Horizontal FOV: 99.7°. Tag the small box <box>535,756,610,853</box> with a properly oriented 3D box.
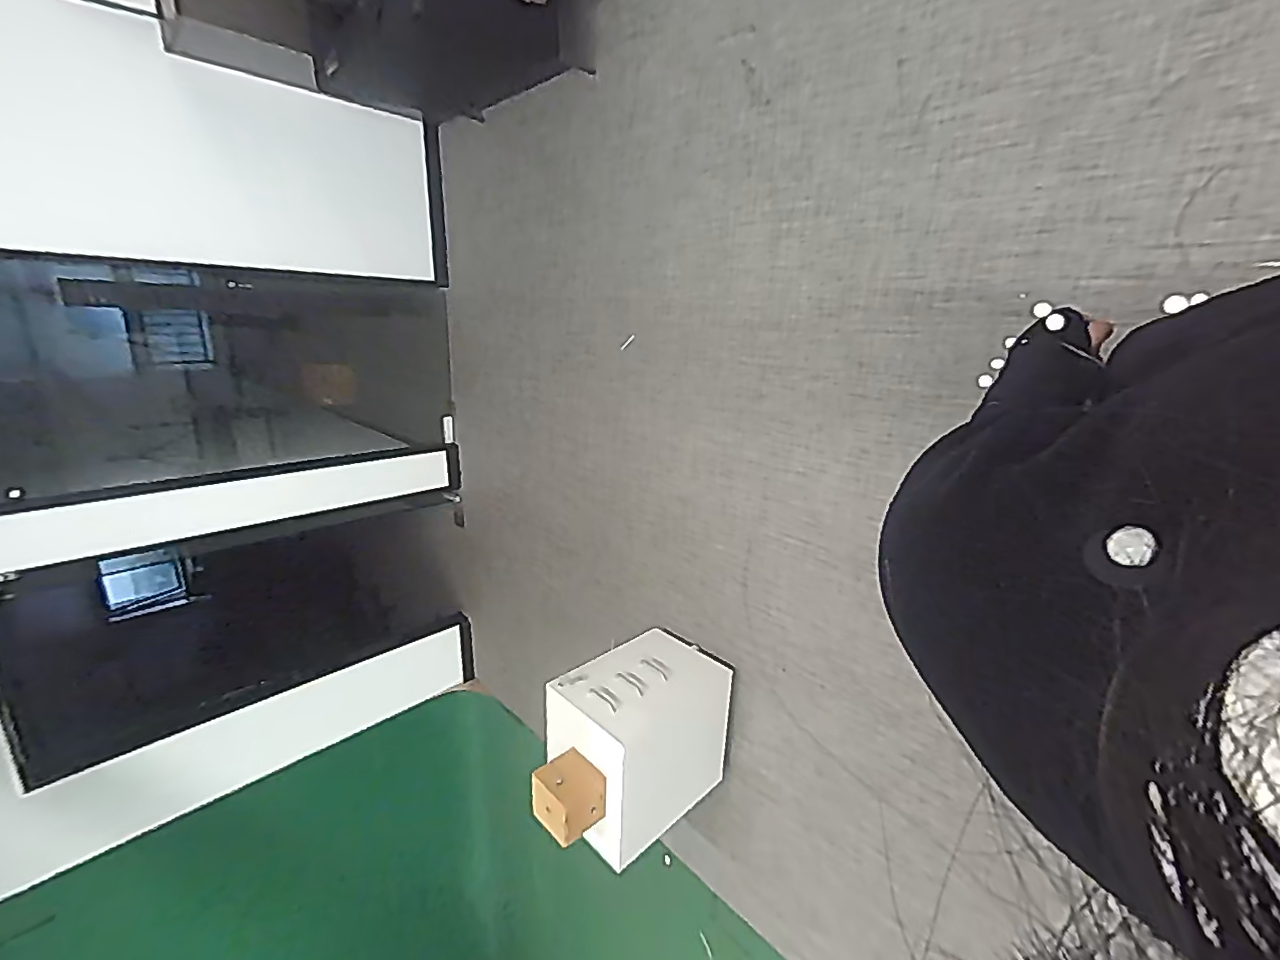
[{"bbox_3d":[-0.216,1.014,1.714,0.179,0.176,0.168,17,112,44],"label":"small box"}]
